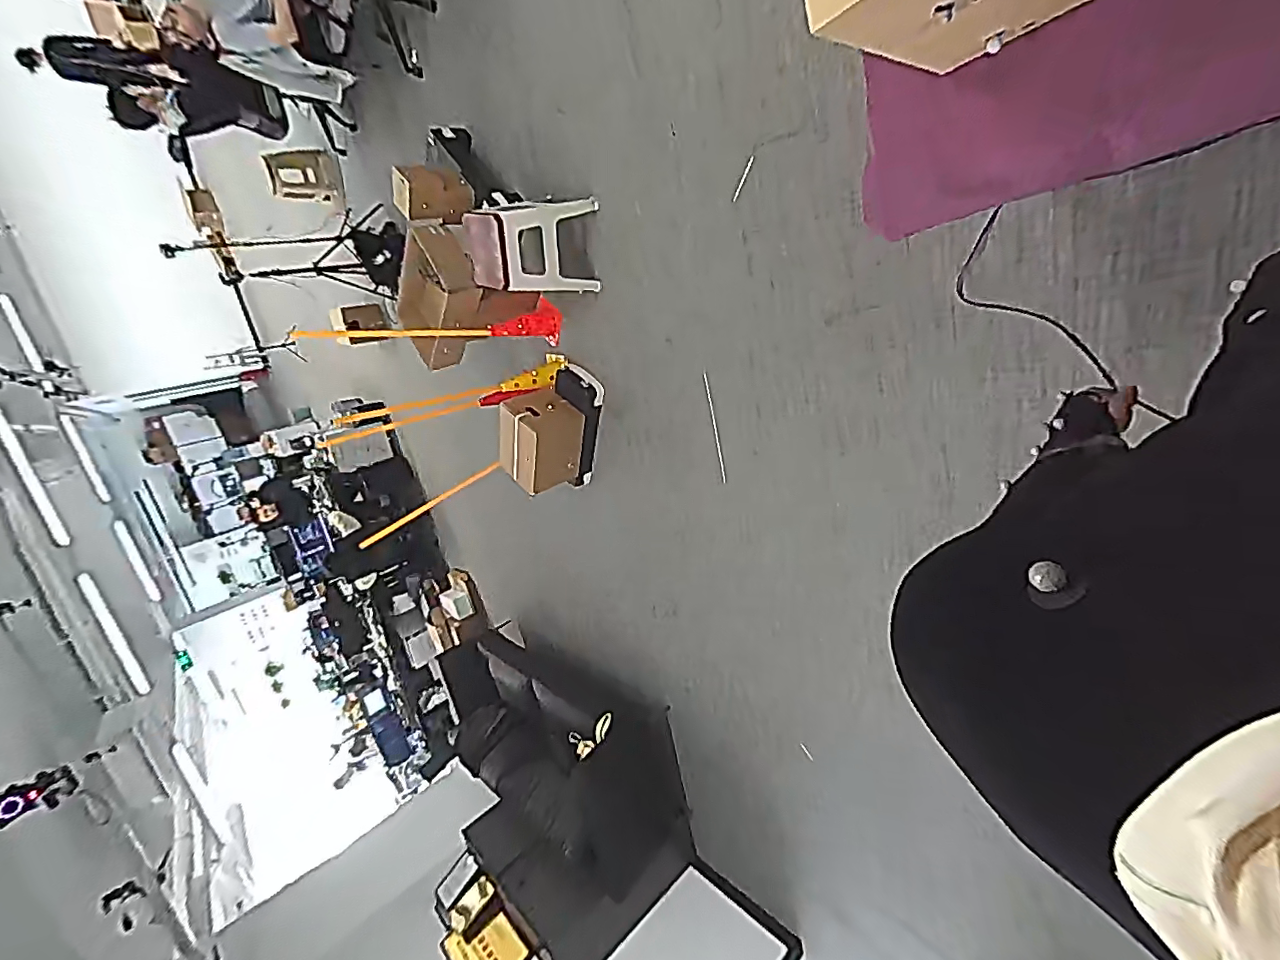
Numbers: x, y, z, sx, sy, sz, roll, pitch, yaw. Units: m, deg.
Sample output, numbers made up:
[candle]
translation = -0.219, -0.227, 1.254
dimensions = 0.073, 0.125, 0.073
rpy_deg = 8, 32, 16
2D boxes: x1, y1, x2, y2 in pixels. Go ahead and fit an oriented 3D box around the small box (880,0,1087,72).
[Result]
[small box]
translation = 0.376, -0.590, 0.591
dimensions = 0.168, 0.176, 0.179
rpy_deg = 2, 111, 50
